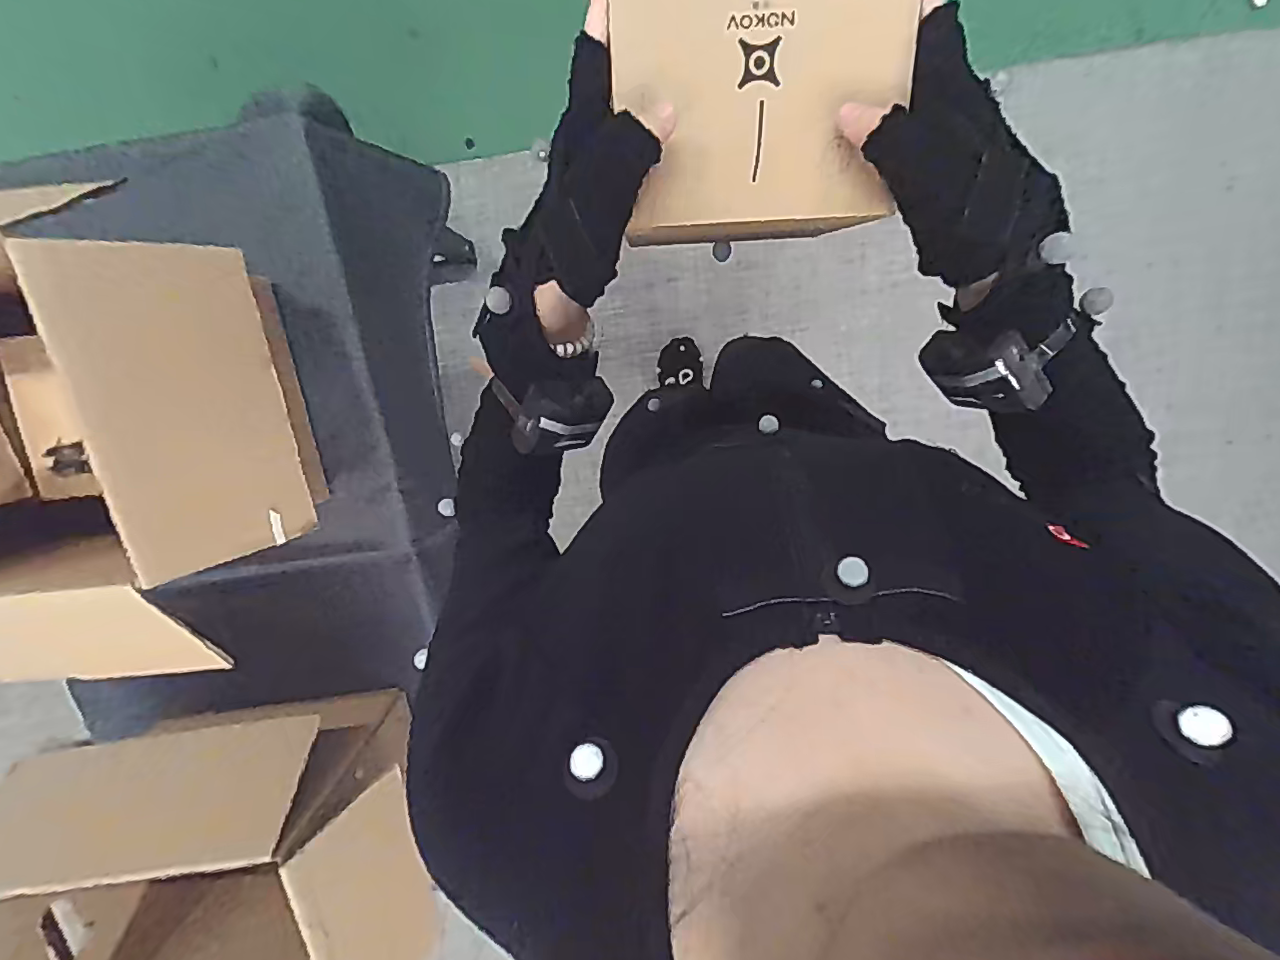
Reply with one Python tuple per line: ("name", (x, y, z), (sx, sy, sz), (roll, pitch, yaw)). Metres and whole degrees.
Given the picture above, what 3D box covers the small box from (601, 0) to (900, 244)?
("small box", (0.058, -0.267, 0.374), (0.168, 0.176, 0.179), (-2, 110, 1))
